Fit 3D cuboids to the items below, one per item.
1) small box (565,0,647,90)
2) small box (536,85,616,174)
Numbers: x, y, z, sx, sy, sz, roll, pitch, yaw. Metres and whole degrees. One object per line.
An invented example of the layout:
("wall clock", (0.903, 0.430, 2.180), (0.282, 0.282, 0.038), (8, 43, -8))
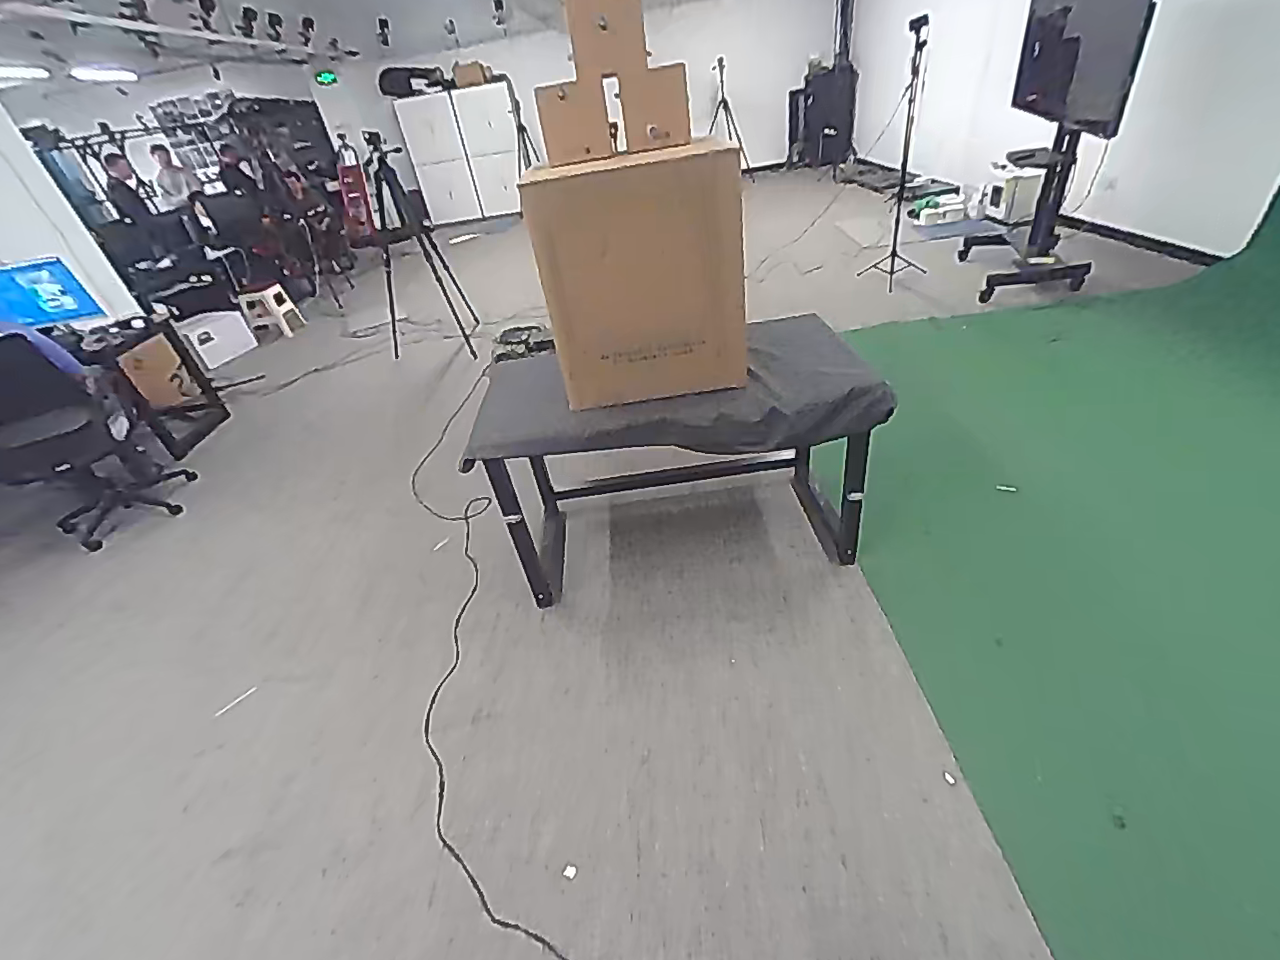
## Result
("small box", (-0.077, -1.062, 1.322), (0.179, 0.176, 0.168), (-9, 33, 2))
("small box", (-0.159, -0.906, 1.405), (0.168, 0.176, 0.179), (-9, 33, 4))
